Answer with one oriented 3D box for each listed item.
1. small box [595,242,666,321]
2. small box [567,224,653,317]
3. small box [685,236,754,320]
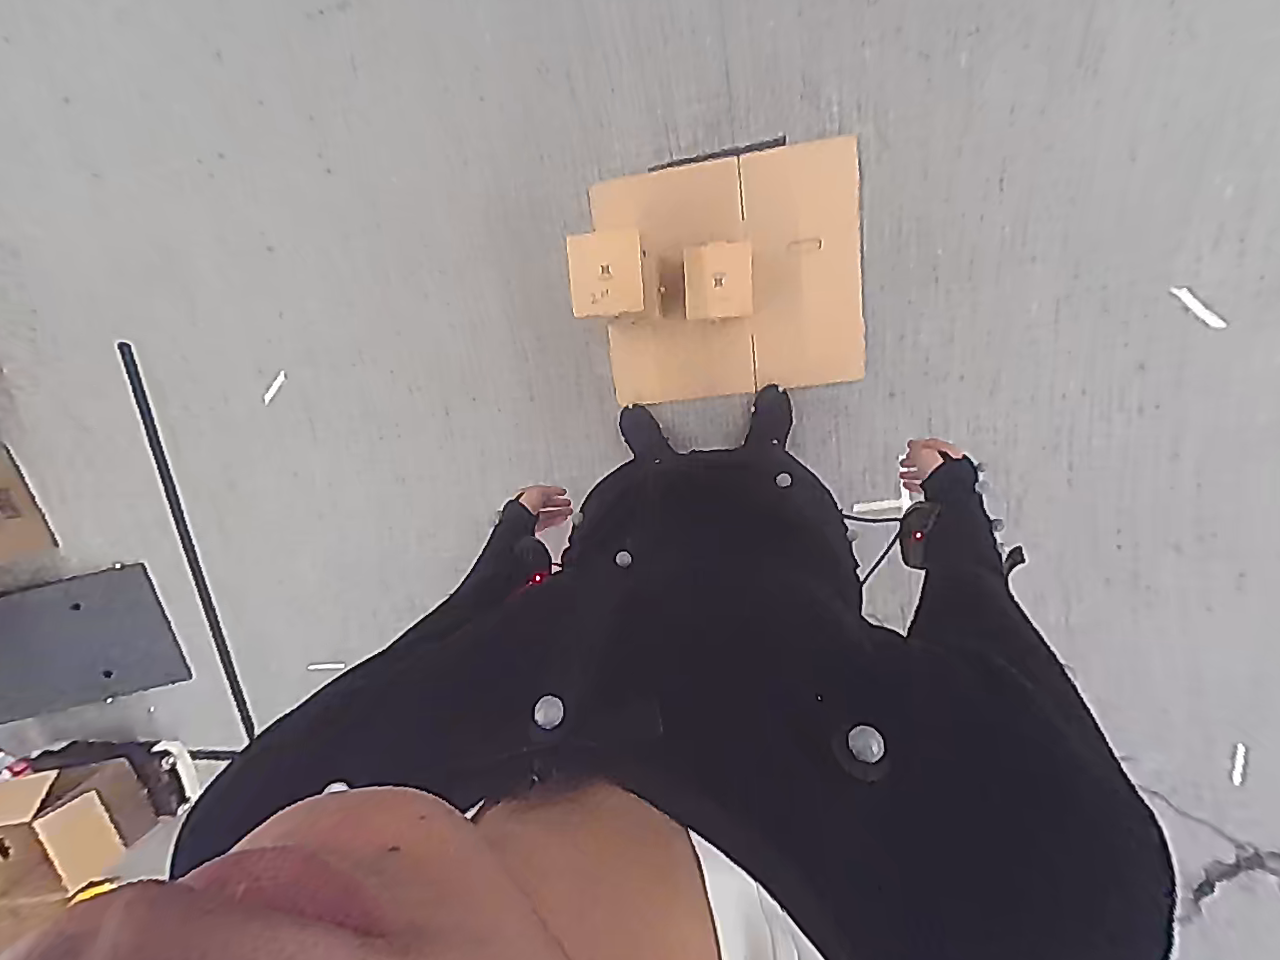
[{"bbox_3d":[-0.027,-0.513,1.418,0.168,0.176,0.179,-2,104,10],"label":"small box"},{"bbox_3d":[-0.063,-0.480,1.260,0.168,0.176,0.179,-2,104,10],"label":"small box"},{"bbox_3d":[0.202,-0.509,1.383,0.168,0.176,0.179,-2,104,9],"label":"small box"}]
